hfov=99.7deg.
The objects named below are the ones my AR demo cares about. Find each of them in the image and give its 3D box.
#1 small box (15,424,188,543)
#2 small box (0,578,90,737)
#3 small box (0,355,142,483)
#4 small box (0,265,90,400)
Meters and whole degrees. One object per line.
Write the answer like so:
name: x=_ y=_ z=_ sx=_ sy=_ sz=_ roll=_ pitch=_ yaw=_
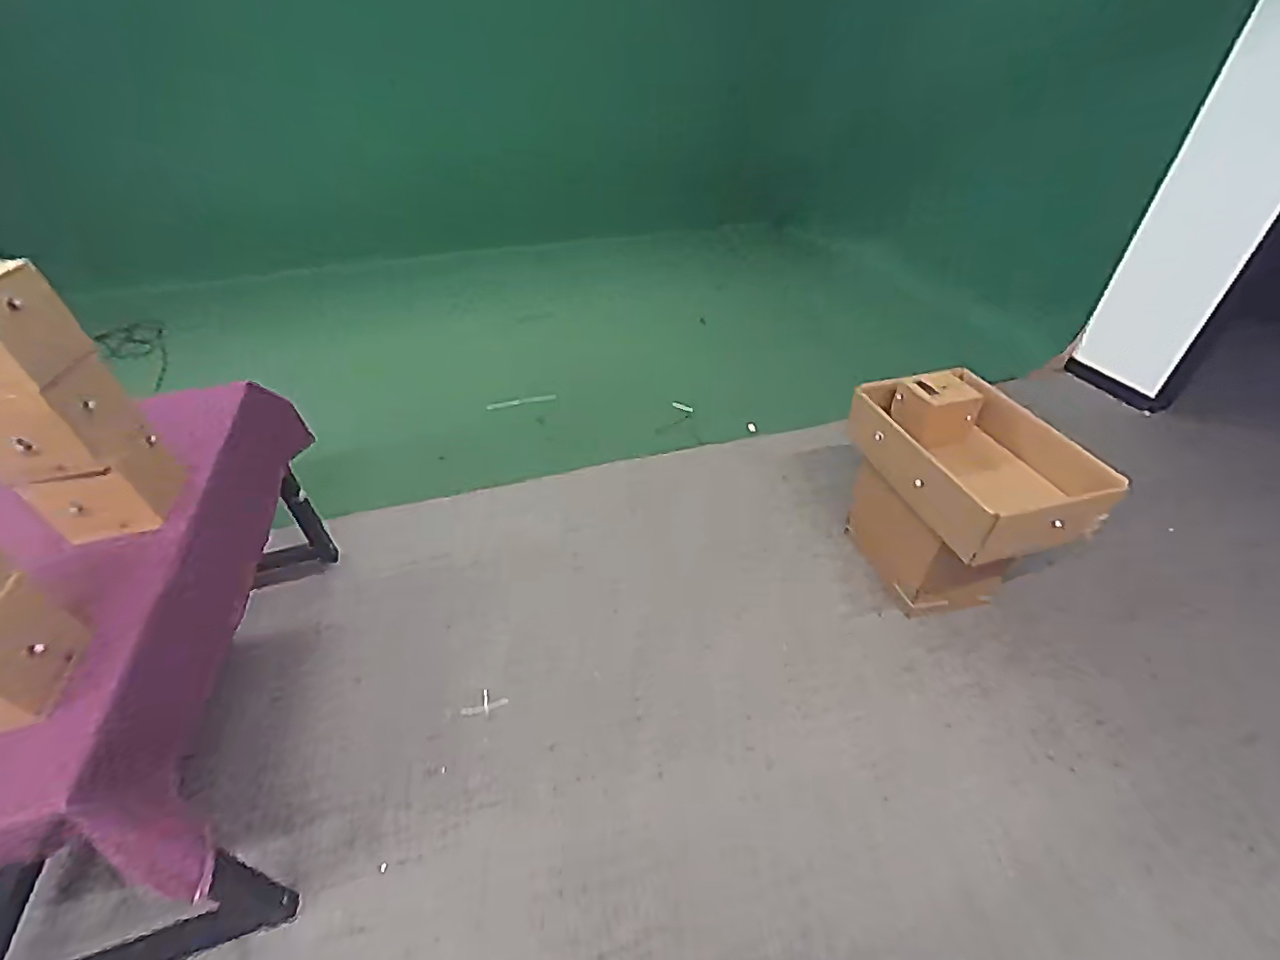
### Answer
small box: x=-1.094 y=0.012 z=1.122 sx=0.168 sy=0.176 sz=0.179 roll=-13 pitch=41 yaw=-12
small box: x=-0.995 y=0.276 z=0.800 sx=0.179 sy=0.176 sz=0.168 roll=-12 pitch=40 yaw=-10
small box: x=-1.099 y=-0.109 z=1.010 sx=0.168 sy=0.176 sz=0.179 roll=-10 pitch=41 yaw=-9
small box: x=-1.107 y=-0.241 z=0.911 sx=0.168 sy=0.176 sz=0.179 roll=-11 pitch=39 yaw=-8
